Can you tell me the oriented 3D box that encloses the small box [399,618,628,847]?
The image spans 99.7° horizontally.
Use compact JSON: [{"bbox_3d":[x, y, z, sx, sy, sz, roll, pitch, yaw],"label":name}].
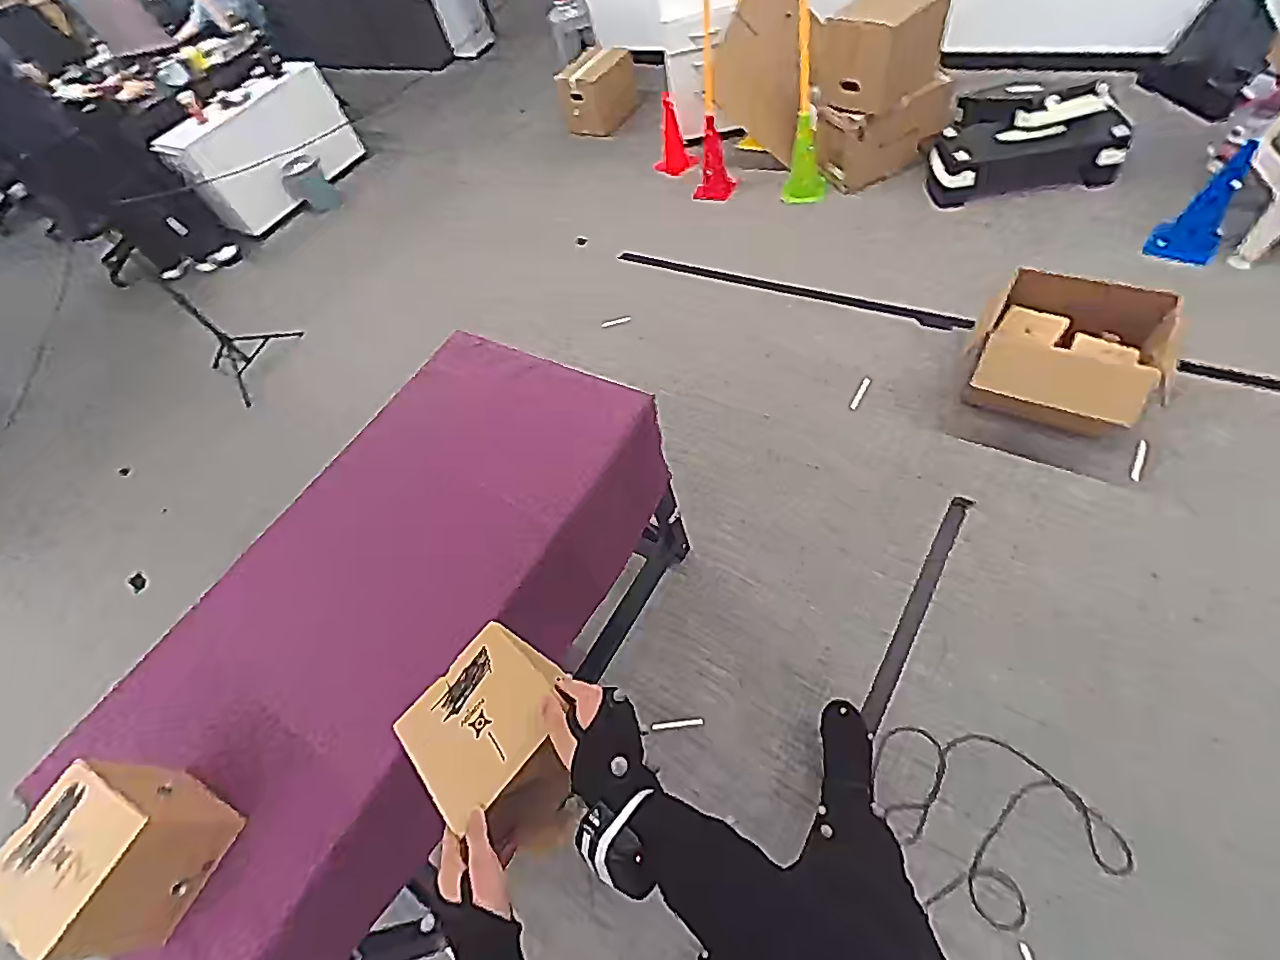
[{"bbox_3d":[-0.148,0.309,0.659,0.168,0.176,0.179,-47,47,-14],"label":"small box"}]
